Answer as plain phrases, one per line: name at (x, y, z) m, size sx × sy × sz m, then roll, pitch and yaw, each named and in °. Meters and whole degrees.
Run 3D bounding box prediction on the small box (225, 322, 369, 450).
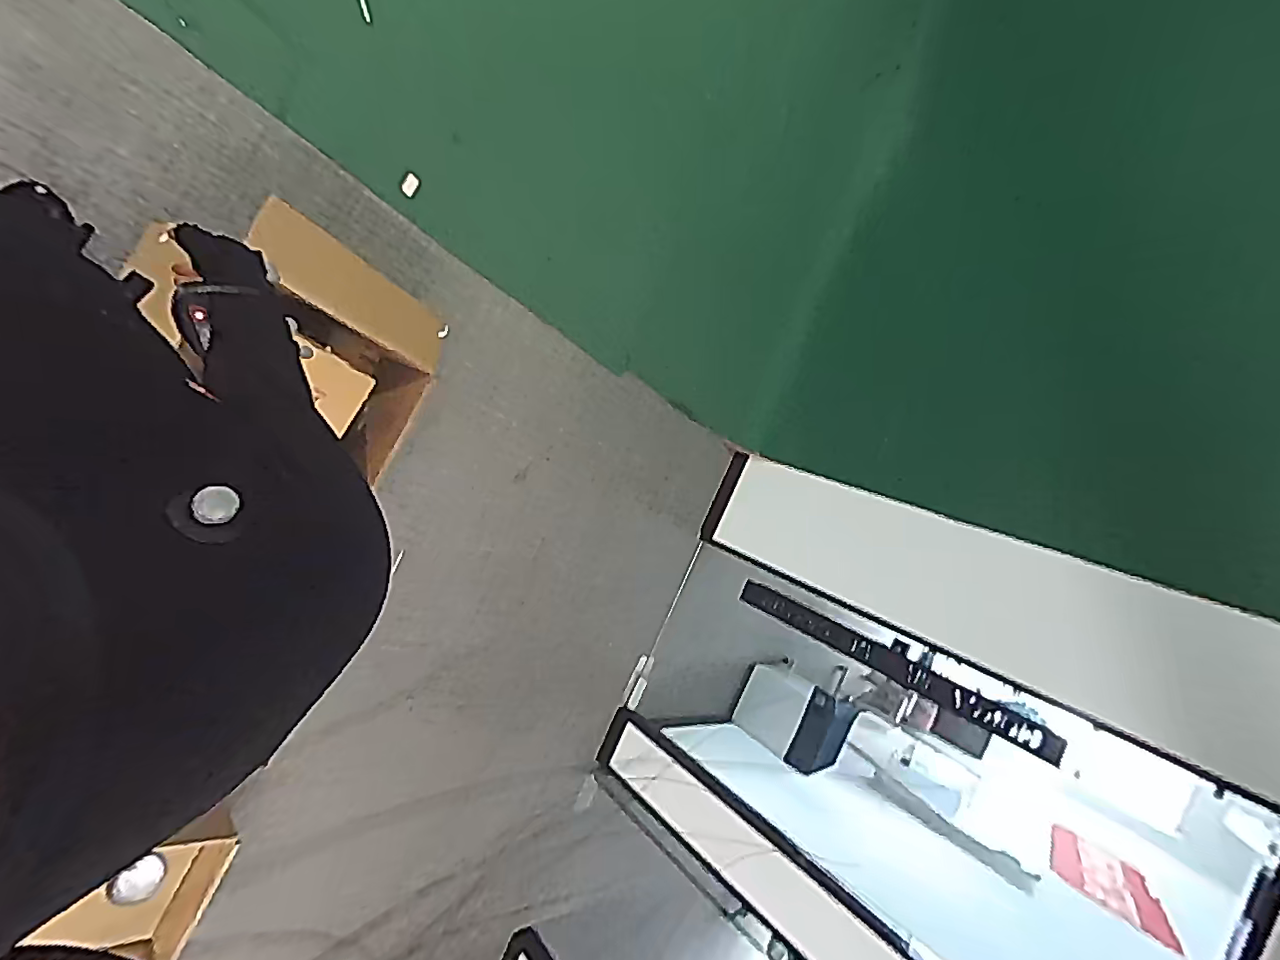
small box at (-0.683, -0.188, 1.070) m, size 0.168 × 0.176 × 0.179 m, roll 35°, pitch 81°, yaw -50°
